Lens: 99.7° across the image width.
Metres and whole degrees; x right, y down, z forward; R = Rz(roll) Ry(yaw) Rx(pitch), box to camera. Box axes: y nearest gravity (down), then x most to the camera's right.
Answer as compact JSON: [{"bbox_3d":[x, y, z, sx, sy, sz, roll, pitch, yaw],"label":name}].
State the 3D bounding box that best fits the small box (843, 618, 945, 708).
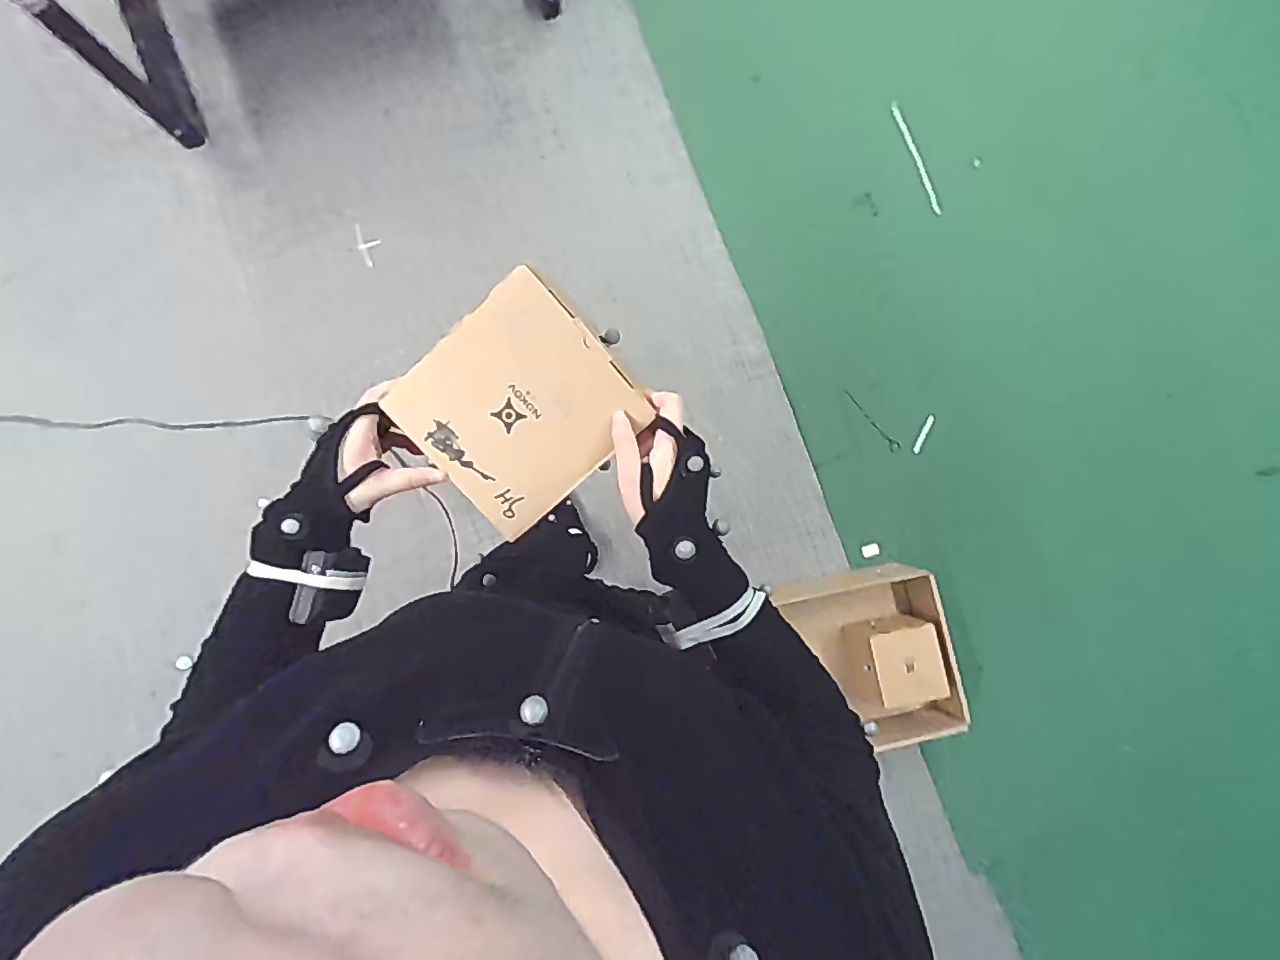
[{"bbox_3d":[0.639,0.458,1.385,0.168,0.176,0.179,-10,86,-2],"label":"small box"}]
